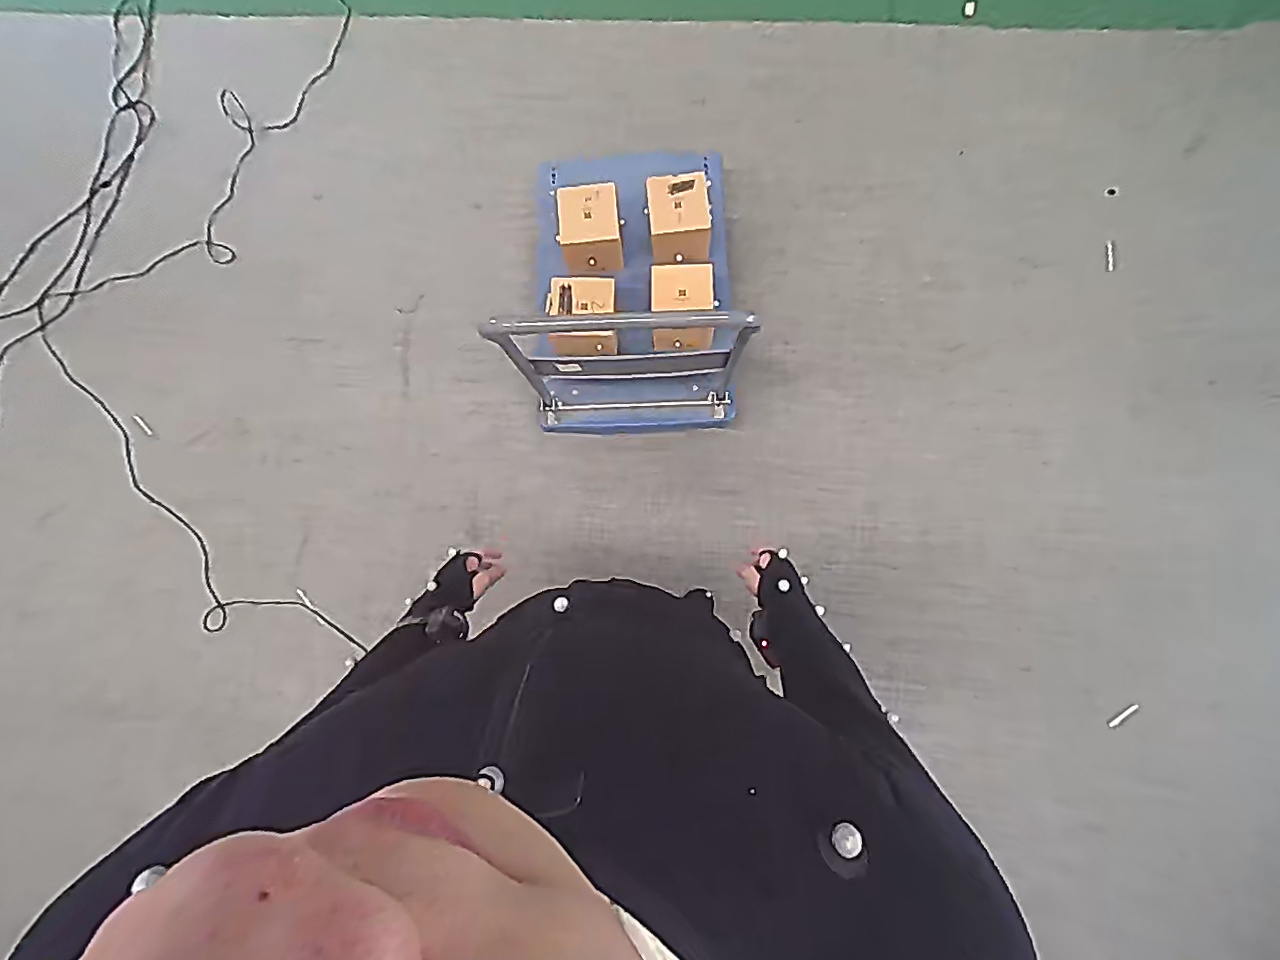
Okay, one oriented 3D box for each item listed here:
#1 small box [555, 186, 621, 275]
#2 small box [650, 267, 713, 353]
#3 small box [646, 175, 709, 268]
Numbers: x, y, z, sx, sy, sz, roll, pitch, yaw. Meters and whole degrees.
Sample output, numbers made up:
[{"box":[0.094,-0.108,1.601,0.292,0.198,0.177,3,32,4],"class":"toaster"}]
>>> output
[{"box":[-0.145,-0.713,1.567,0.168,0.176,0.179,-5,80,1],"class":"small box"},{"box":[0.112,-0.472,1.516,0.168,0.176,0.179,-1,81,2],"class":"small box"},{"box":[0.105,-0.739,1.558,0.168,0.176,0.179,-5,82,3],"class":"small box"}]
